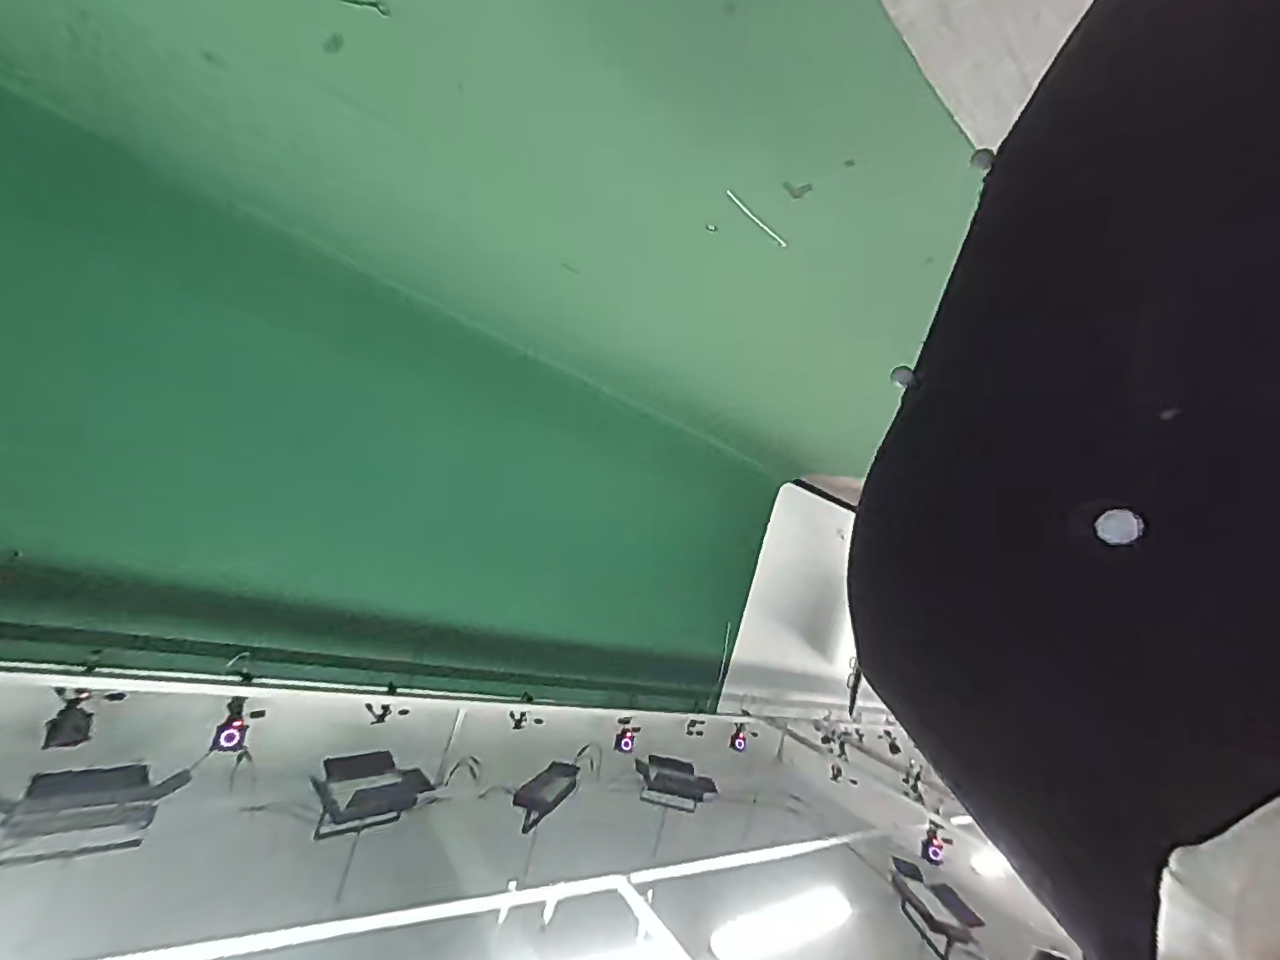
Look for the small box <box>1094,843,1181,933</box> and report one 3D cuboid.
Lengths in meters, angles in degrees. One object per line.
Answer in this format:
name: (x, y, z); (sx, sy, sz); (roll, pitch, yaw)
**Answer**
small box: (1.531, 1.233, 1.663); (0.179, 0.176, 0.168); (21, 173, -37)
